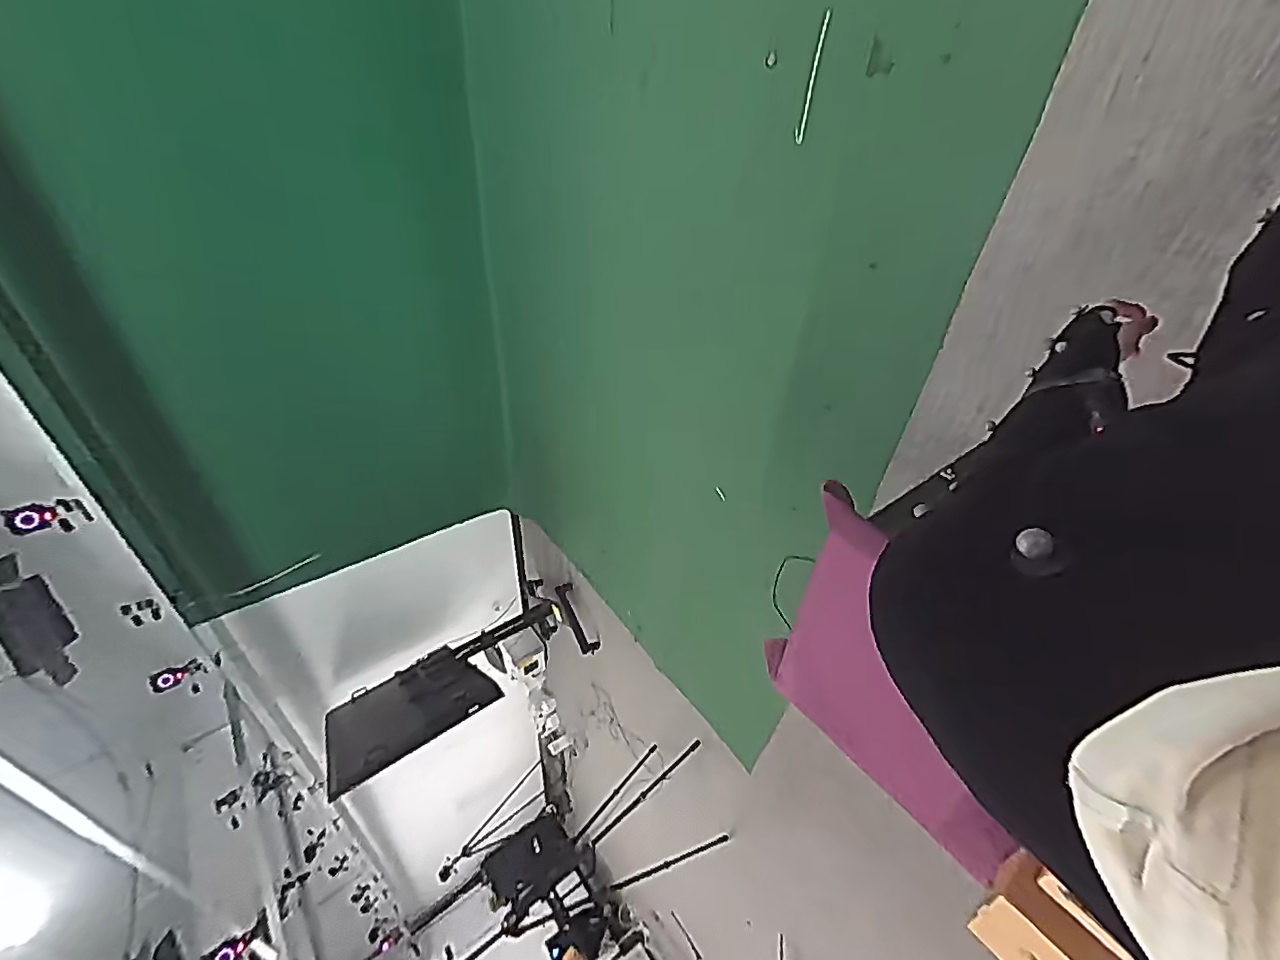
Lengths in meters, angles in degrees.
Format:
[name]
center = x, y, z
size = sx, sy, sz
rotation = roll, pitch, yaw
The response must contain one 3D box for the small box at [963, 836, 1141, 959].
[small box]
center = 0.736, 0.787, 0.973
size = 0.179, 0.176, 0.168
rotation = 38, 139, 38
